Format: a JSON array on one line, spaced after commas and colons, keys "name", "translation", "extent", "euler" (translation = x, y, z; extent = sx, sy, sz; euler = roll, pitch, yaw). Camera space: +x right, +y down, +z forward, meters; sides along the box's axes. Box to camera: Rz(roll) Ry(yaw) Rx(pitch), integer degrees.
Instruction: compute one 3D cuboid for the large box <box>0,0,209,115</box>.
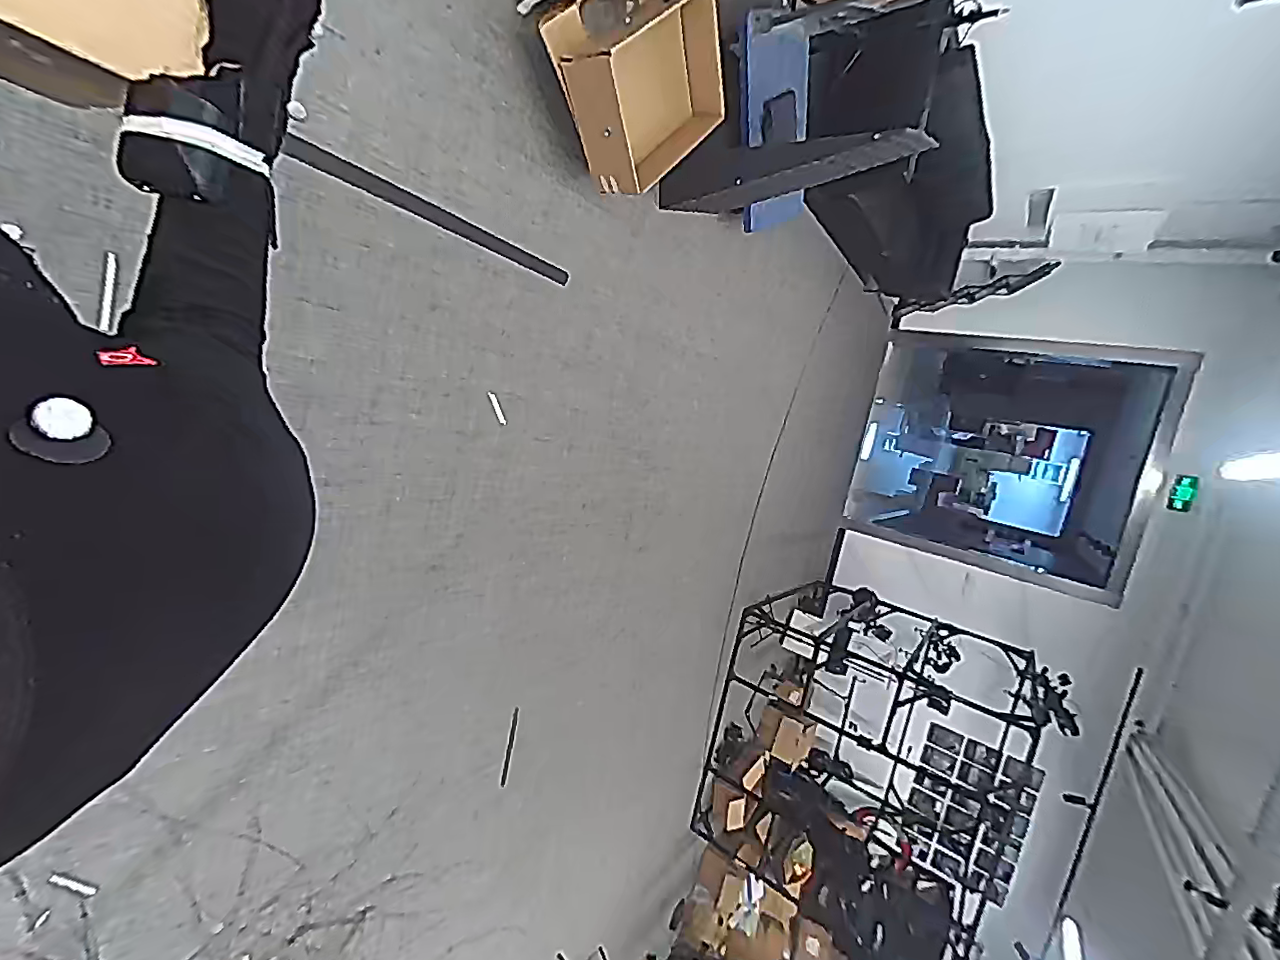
[{"name": "large box", "translation": [-0.503, -0.449, 0.266], "extent": [0.408, 0.320, 0.320], "euler": [-1, 112, -58]}]
